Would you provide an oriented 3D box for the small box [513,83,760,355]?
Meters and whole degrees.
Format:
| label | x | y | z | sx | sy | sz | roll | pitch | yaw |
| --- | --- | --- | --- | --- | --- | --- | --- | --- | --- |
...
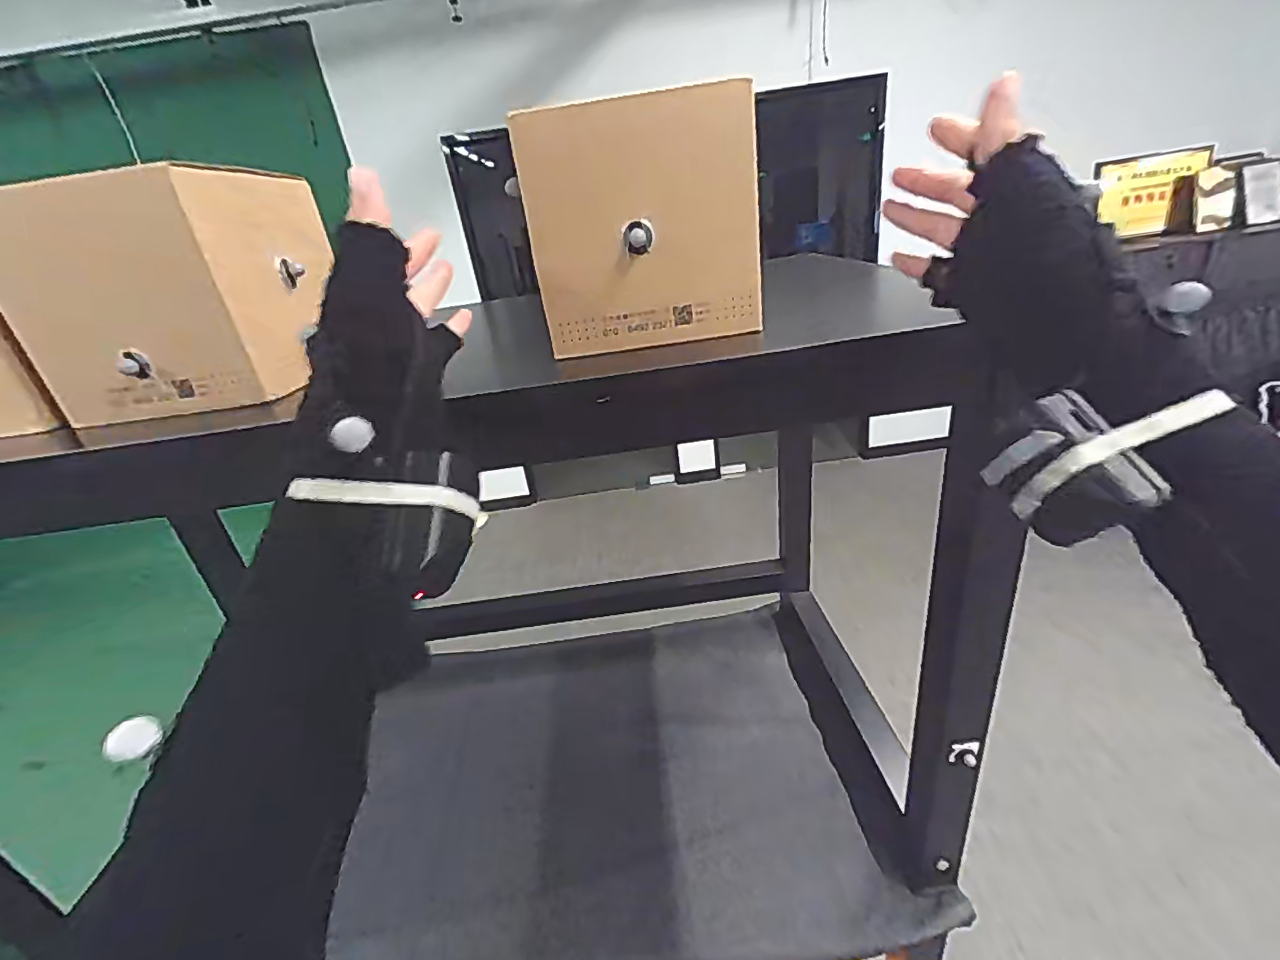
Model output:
| label | x | y | z | sx | sy | sz | roll | pitch | yaw |
| --- | --- | --- | --- | --- | --- | --- | --- | --- | --- |
| small box | 0.004 | -0.211 | 0.465 | 0.168 | 0.176 | 0.179 | -7 | 26 | 2 |
